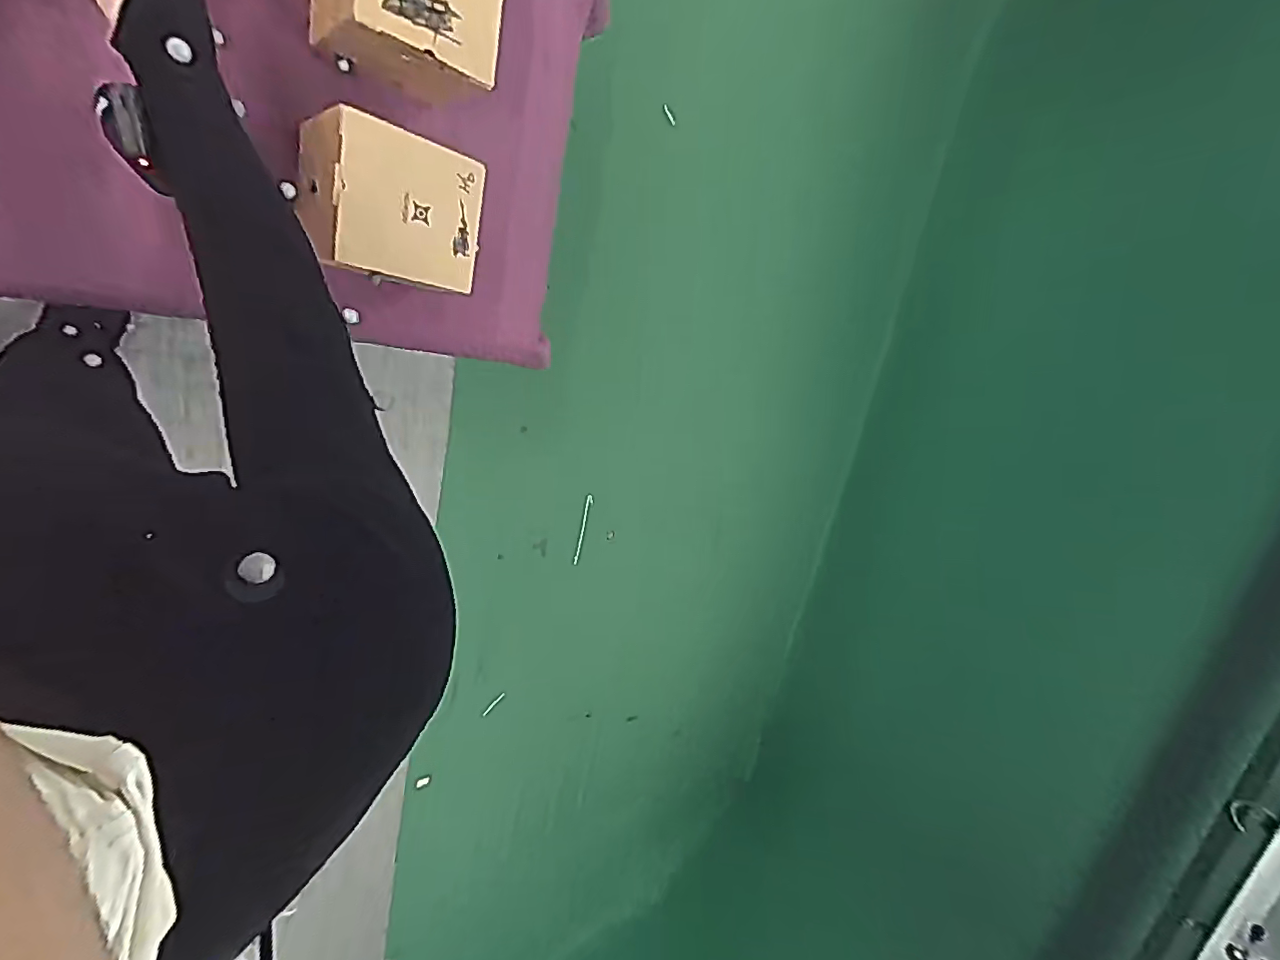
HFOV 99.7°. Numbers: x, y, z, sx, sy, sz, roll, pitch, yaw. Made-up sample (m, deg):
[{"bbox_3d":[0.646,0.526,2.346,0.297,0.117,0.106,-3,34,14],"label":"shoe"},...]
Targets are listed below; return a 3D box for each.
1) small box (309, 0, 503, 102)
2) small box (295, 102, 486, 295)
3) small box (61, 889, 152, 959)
[{"bbox_3d":[-0.278,-0.586,0.642,0.168,0.176,0.179,-3,111,-45],"label":"small box"},{"bbox_3d":[-0.329,-0.347,0.703,0.179,0.176,0.168,-1,108,-45],"label":"small box"},{"bbox_3d":[-1.427,1.261,1.445,0.168,0.176,0.179,0,109,-47],"label":"small box"}]
